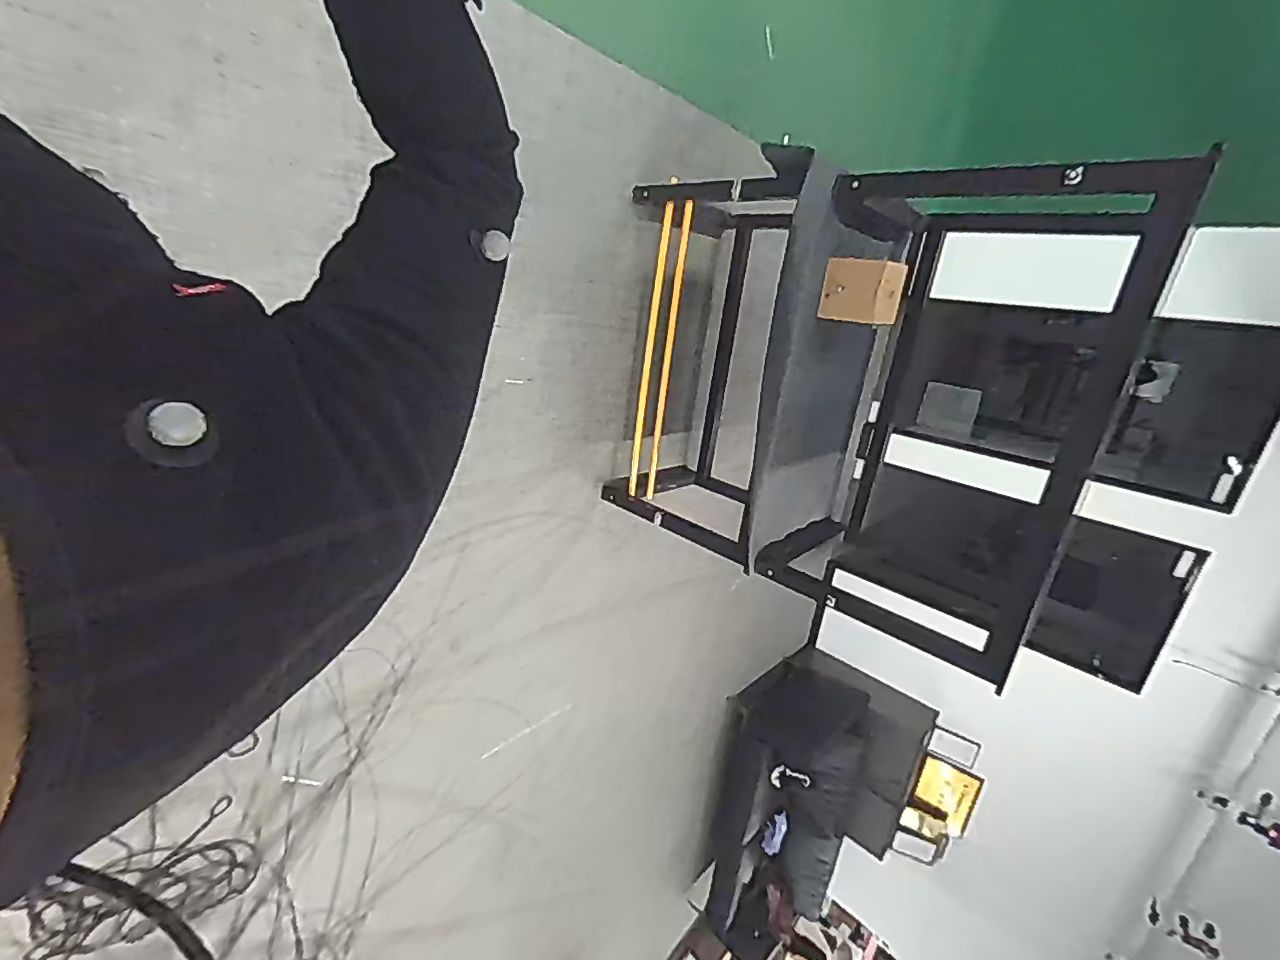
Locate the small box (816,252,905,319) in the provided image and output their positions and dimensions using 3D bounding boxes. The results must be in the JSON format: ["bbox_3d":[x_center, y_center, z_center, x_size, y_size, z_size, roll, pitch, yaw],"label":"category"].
[{"bbox_3d":[0.639,-0.566,1.574,0.179,0.176,0.168,-16,119,-45],"label":"small box"}]
